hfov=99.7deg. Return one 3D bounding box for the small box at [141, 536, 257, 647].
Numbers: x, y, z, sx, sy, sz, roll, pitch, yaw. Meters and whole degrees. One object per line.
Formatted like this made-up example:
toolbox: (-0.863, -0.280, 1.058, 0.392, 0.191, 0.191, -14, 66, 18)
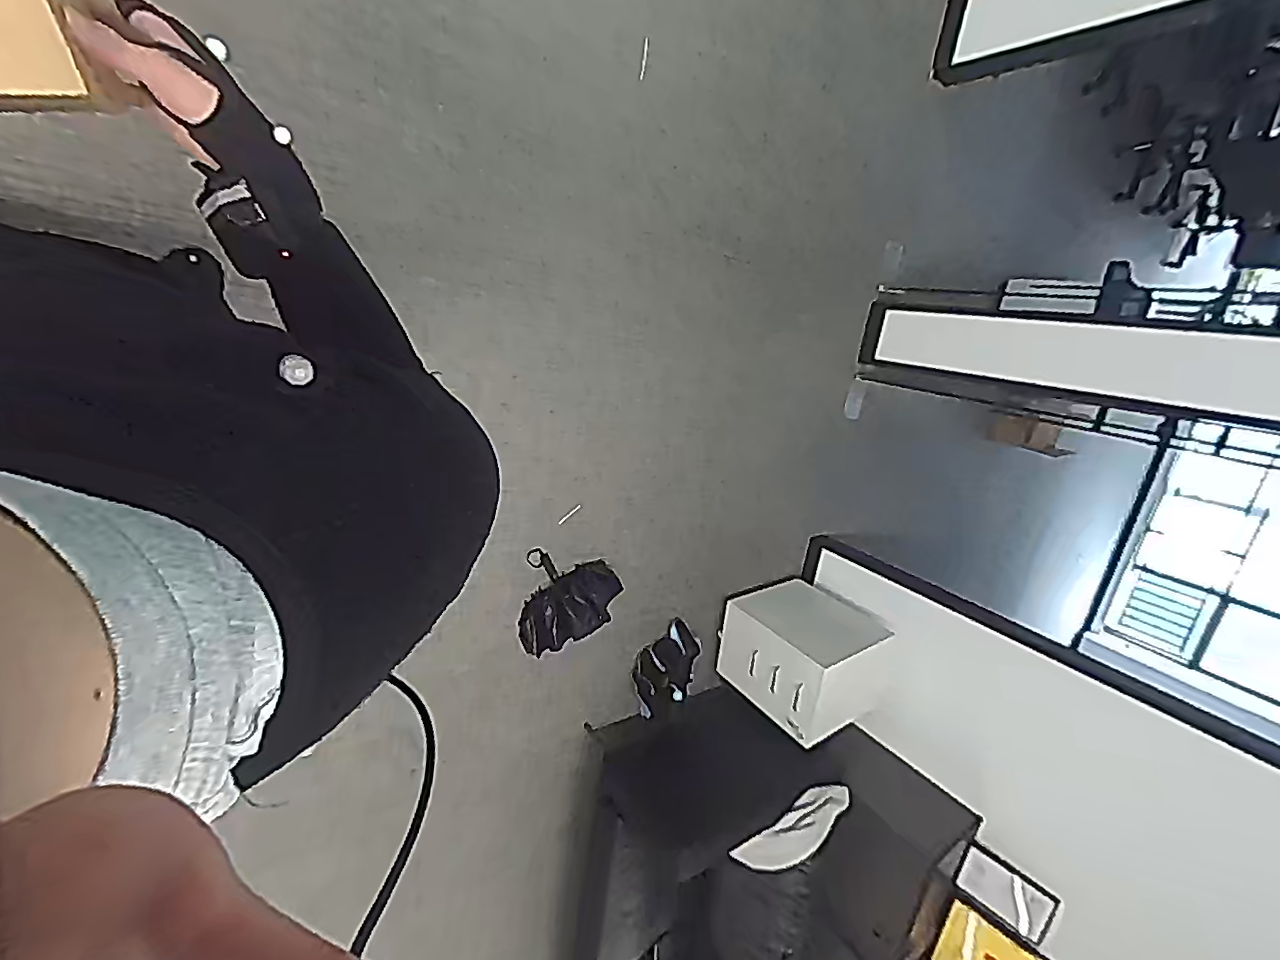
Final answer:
small box: (-1.028, 0.249, 1.272, 0.168, 0.176, 0.179, -18, 119, -28)
